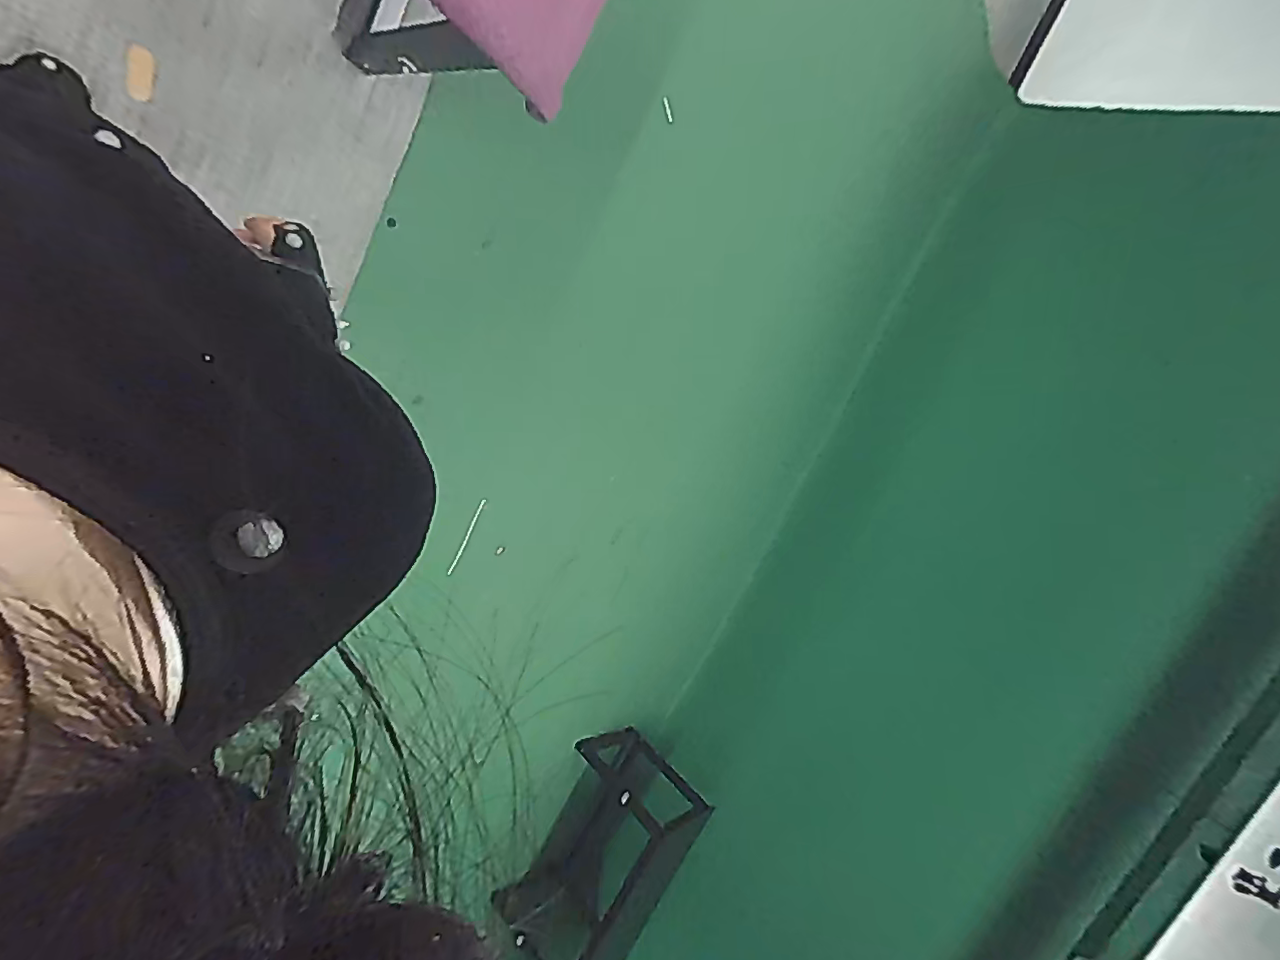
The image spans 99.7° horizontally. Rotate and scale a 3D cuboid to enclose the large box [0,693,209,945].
[{"bbox_3d":[-1.363,0.810,1.345,0.408,0.320,0.320,-6,121,-49],"label":"large box"}]
